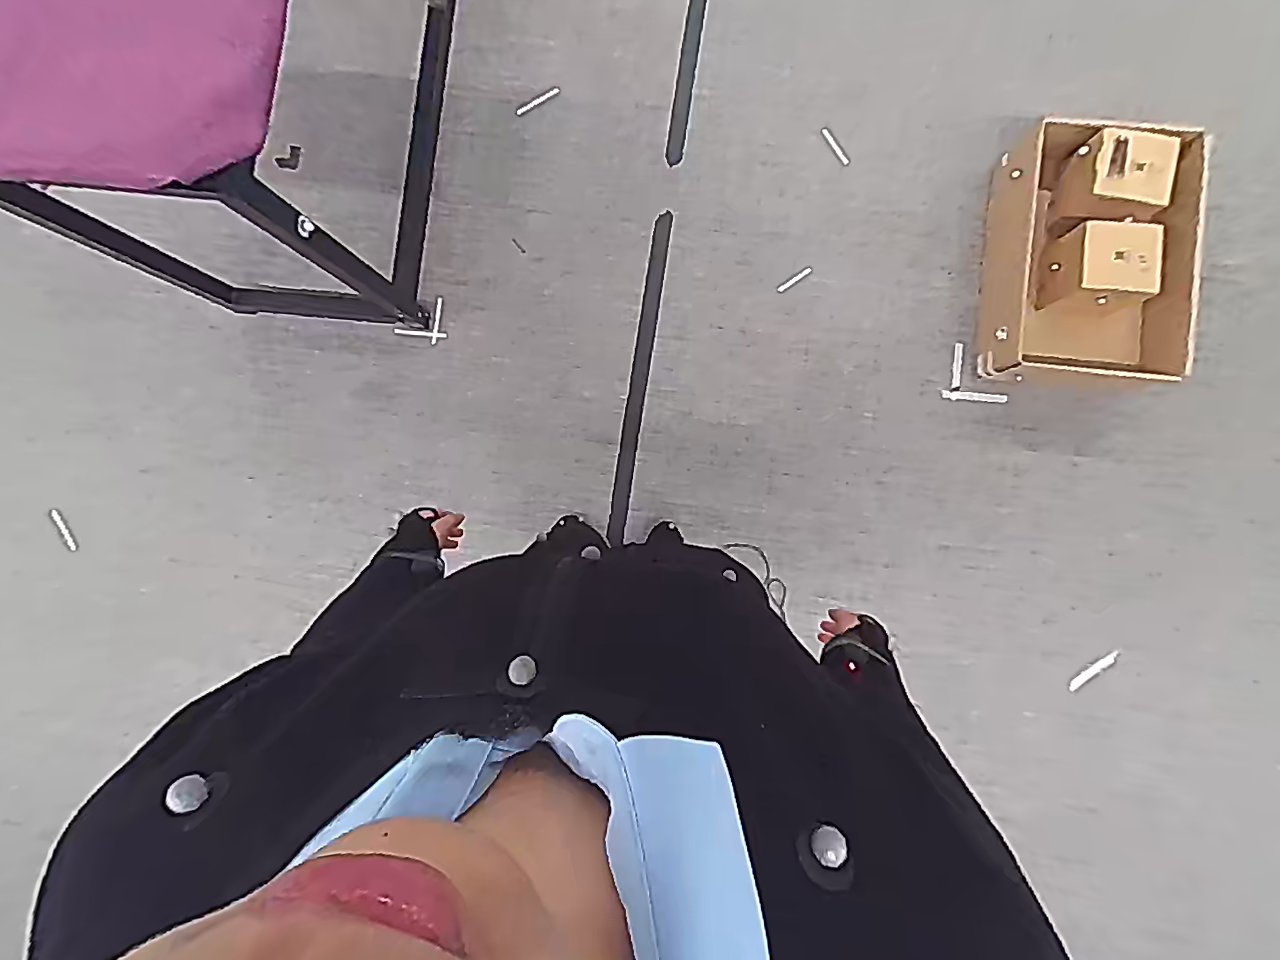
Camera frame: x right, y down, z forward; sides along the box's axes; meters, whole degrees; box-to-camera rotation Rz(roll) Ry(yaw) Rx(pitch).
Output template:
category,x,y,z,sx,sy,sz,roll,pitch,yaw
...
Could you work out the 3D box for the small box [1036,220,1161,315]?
category,x,y,z,sx,sy,sz,roll,pitch,yaw
small box,1.133,-0.523,1.348,0.179,0.176,0.168,6,88,3
